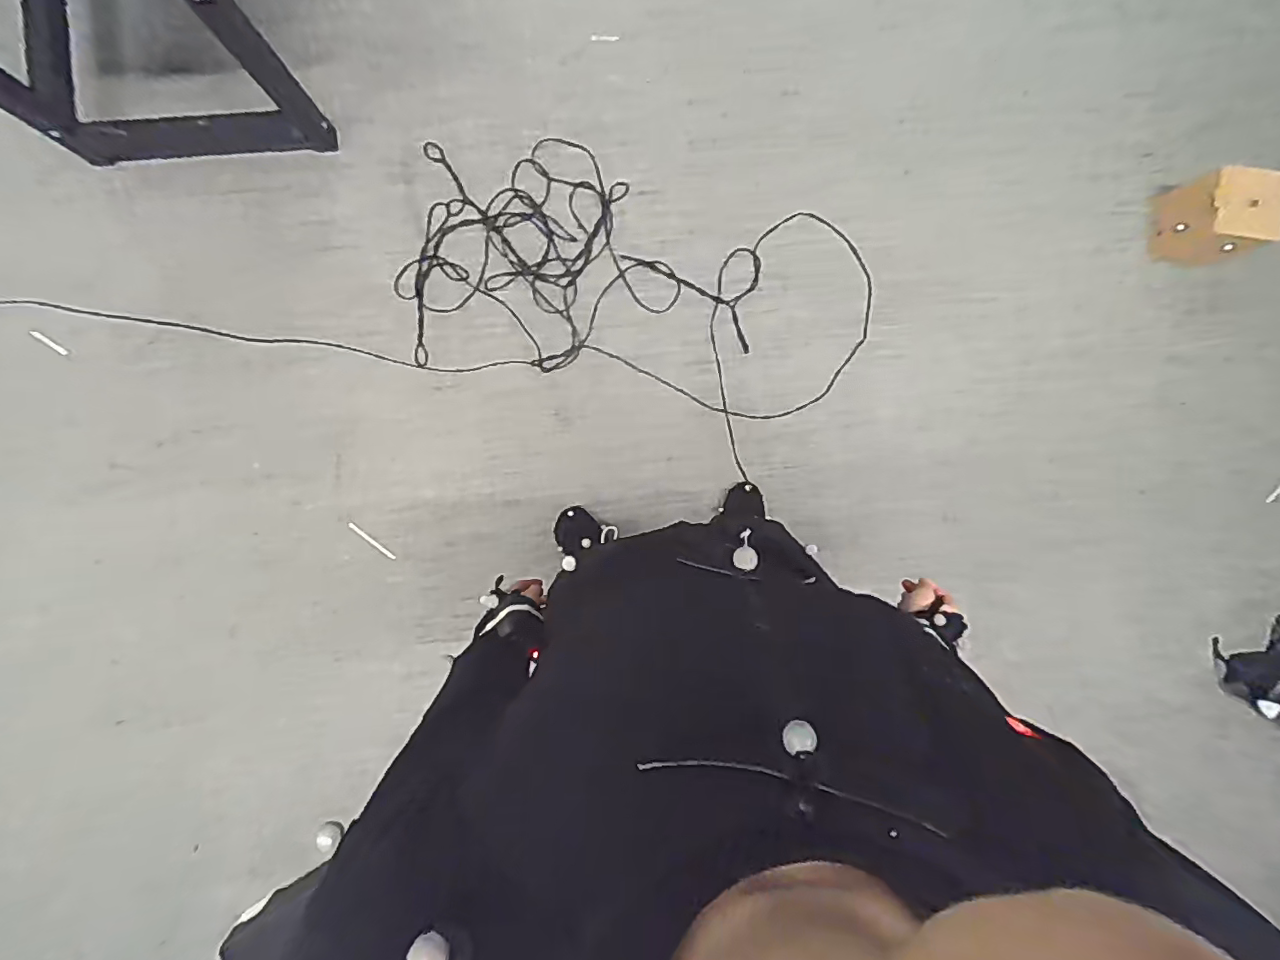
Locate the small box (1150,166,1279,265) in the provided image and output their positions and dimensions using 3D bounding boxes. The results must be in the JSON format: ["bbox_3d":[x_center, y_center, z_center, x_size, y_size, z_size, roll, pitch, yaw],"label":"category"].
[{"bbox_3d":[1.457,-0.662,1.371,0.179,0.176,0.168,5,91,-4],"label":"small box"}]
